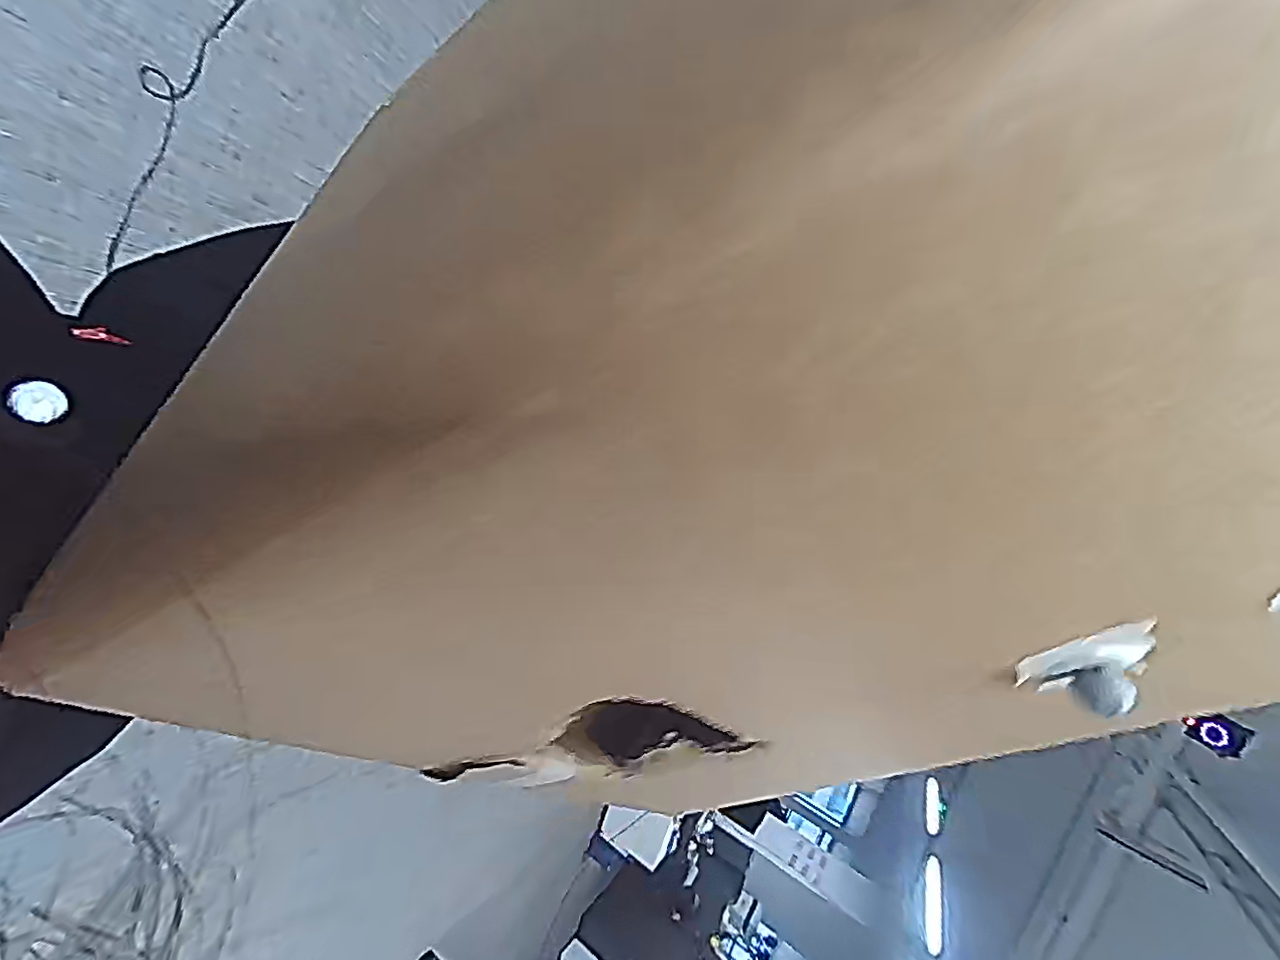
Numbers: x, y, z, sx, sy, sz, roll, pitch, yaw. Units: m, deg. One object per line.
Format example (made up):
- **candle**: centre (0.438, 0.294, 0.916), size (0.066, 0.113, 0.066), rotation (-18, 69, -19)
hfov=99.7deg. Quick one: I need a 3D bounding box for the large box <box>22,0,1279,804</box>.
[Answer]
- **large box**: centre (0.040, -0.088, 0.302), size (0.320, 0.320, 0.408), rotation (45, 29, -42)
